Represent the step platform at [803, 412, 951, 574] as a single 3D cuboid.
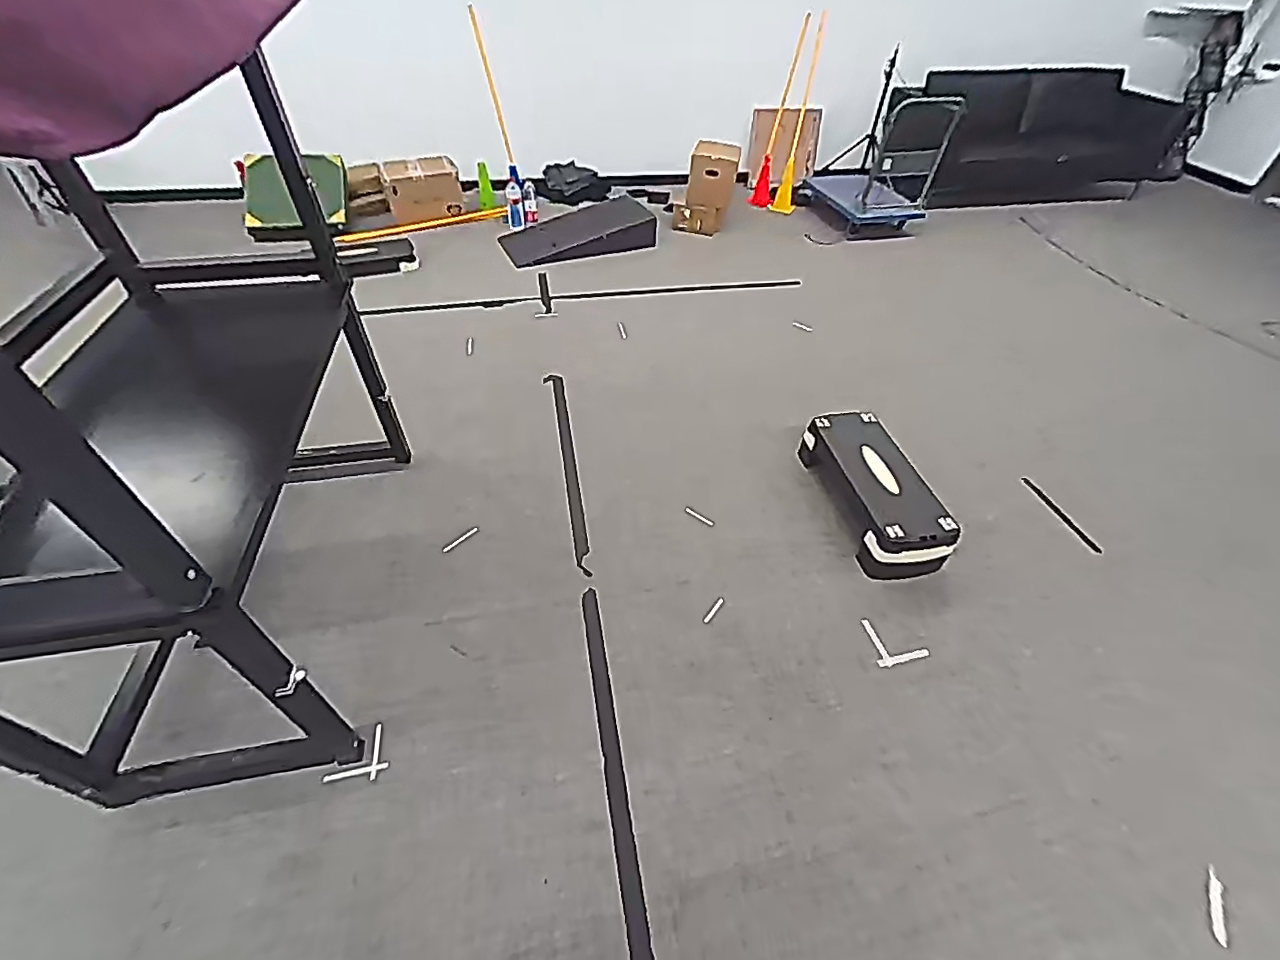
[{"bbox_3d":[0.857,0.016,2.025,0.286,0.204,0.684,-3,44,-5],"label":"step platform"}]
